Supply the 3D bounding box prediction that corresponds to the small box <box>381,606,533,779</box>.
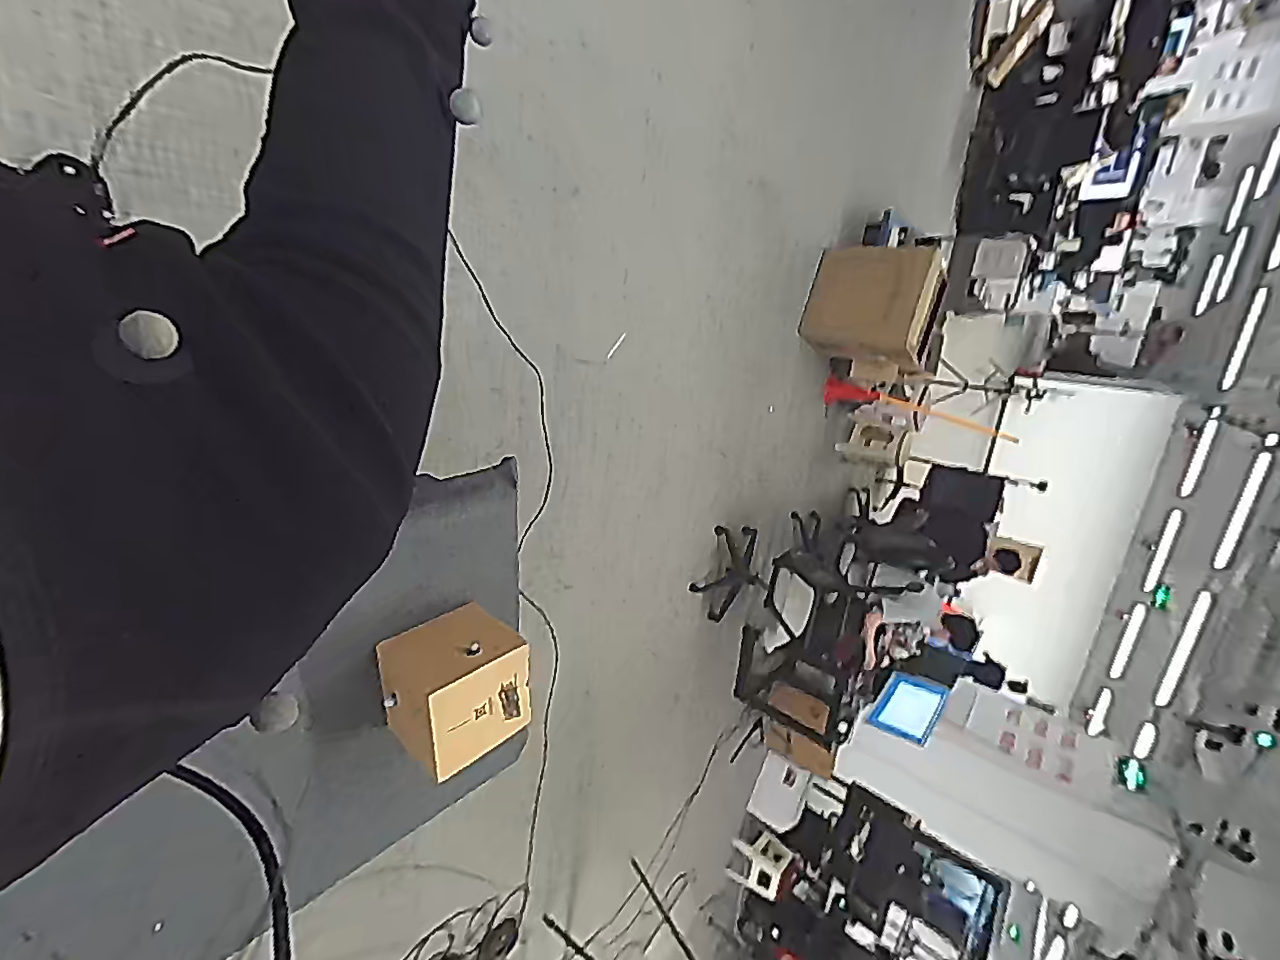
[{"bbox_3d":[-0.298,0.335,0.893,0.179,0.176,0.168,-19,118,-45],"label":"small box"}]
